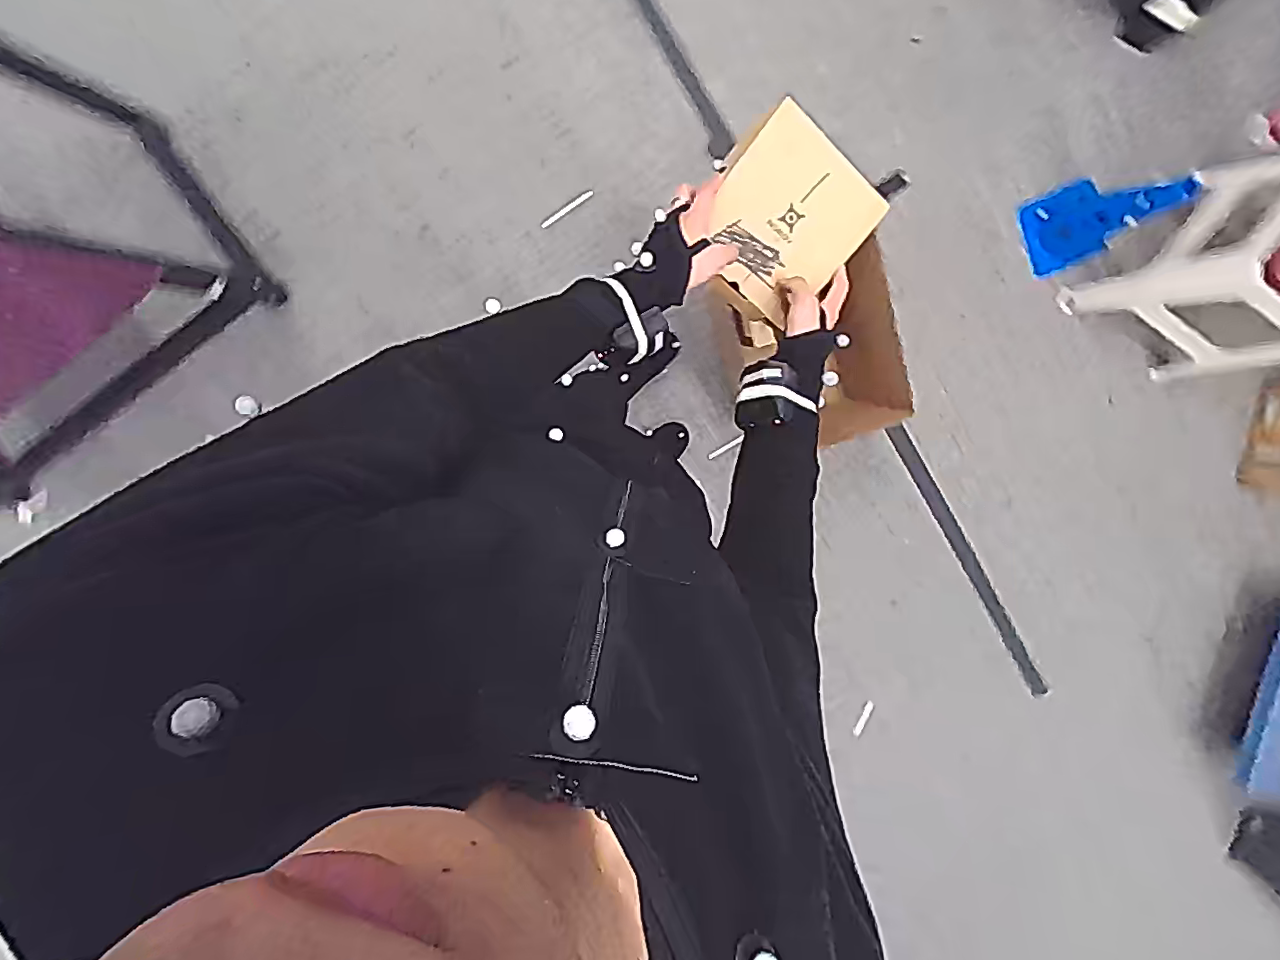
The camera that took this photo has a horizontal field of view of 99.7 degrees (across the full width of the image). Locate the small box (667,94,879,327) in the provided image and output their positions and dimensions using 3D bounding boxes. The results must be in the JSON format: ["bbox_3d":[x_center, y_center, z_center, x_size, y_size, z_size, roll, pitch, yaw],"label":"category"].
[{"bbox_3d":[0.146,-0.319,0.670,0.168,0.176,0.179,35,108,-16],"label":"small box"}]
